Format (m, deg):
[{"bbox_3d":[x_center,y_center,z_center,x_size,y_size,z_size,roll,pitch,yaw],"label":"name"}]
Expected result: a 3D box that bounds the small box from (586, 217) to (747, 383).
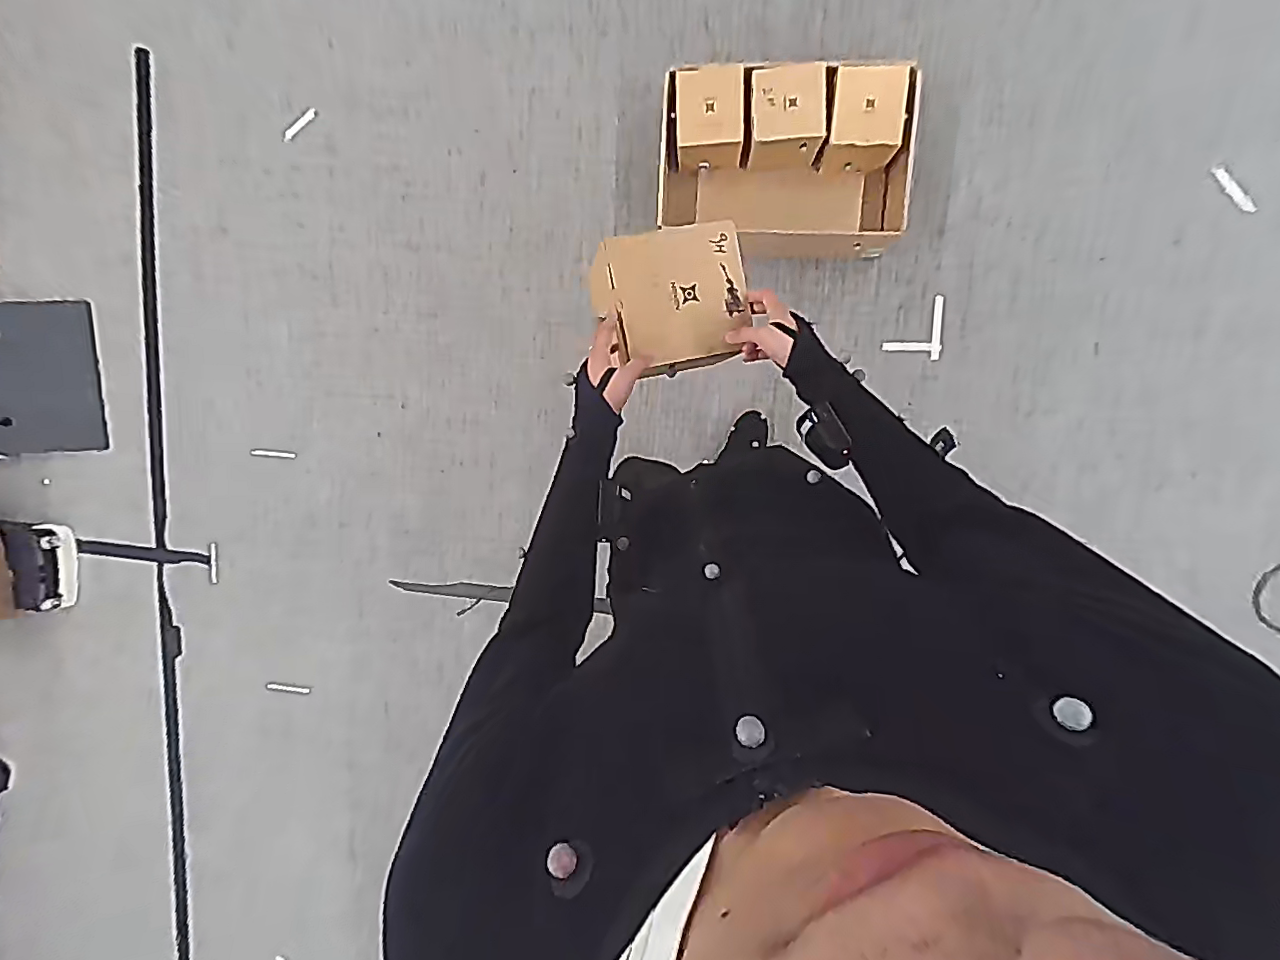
[{"bbox_3d":[0.025,-0.238,0.752,0.179,0.176,0.168,-13,95,-9],"label":"small box"}]
